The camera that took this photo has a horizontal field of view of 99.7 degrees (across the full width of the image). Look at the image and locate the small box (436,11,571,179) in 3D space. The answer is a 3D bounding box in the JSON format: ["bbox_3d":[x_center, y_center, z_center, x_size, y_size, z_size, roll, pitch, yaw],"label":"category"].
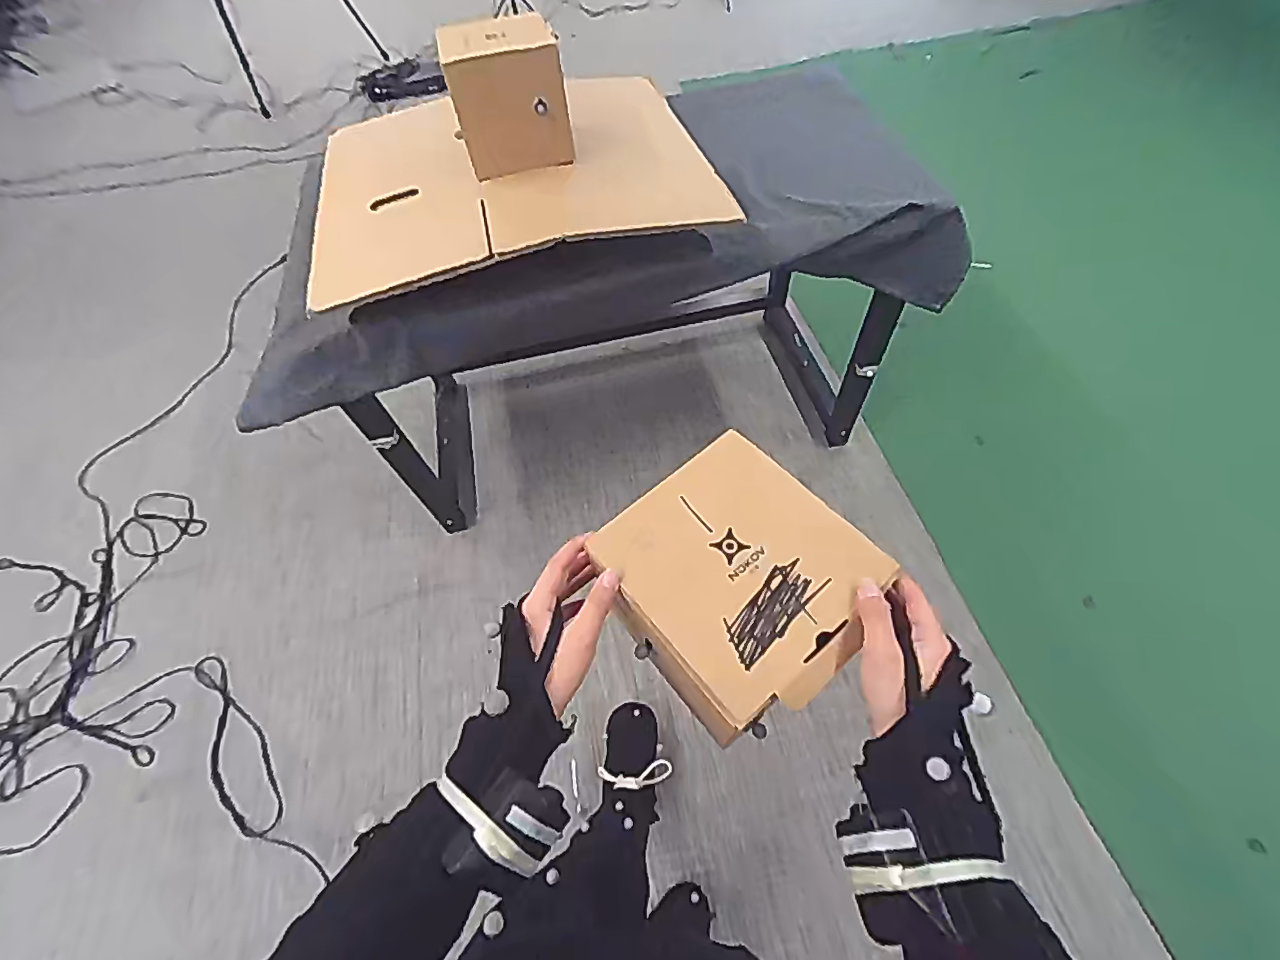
[{"bbox_3d":[-0.217,-0.633,0.895,0.179,0.176,0.168,-15,55,-5],"label":"small box"}]
